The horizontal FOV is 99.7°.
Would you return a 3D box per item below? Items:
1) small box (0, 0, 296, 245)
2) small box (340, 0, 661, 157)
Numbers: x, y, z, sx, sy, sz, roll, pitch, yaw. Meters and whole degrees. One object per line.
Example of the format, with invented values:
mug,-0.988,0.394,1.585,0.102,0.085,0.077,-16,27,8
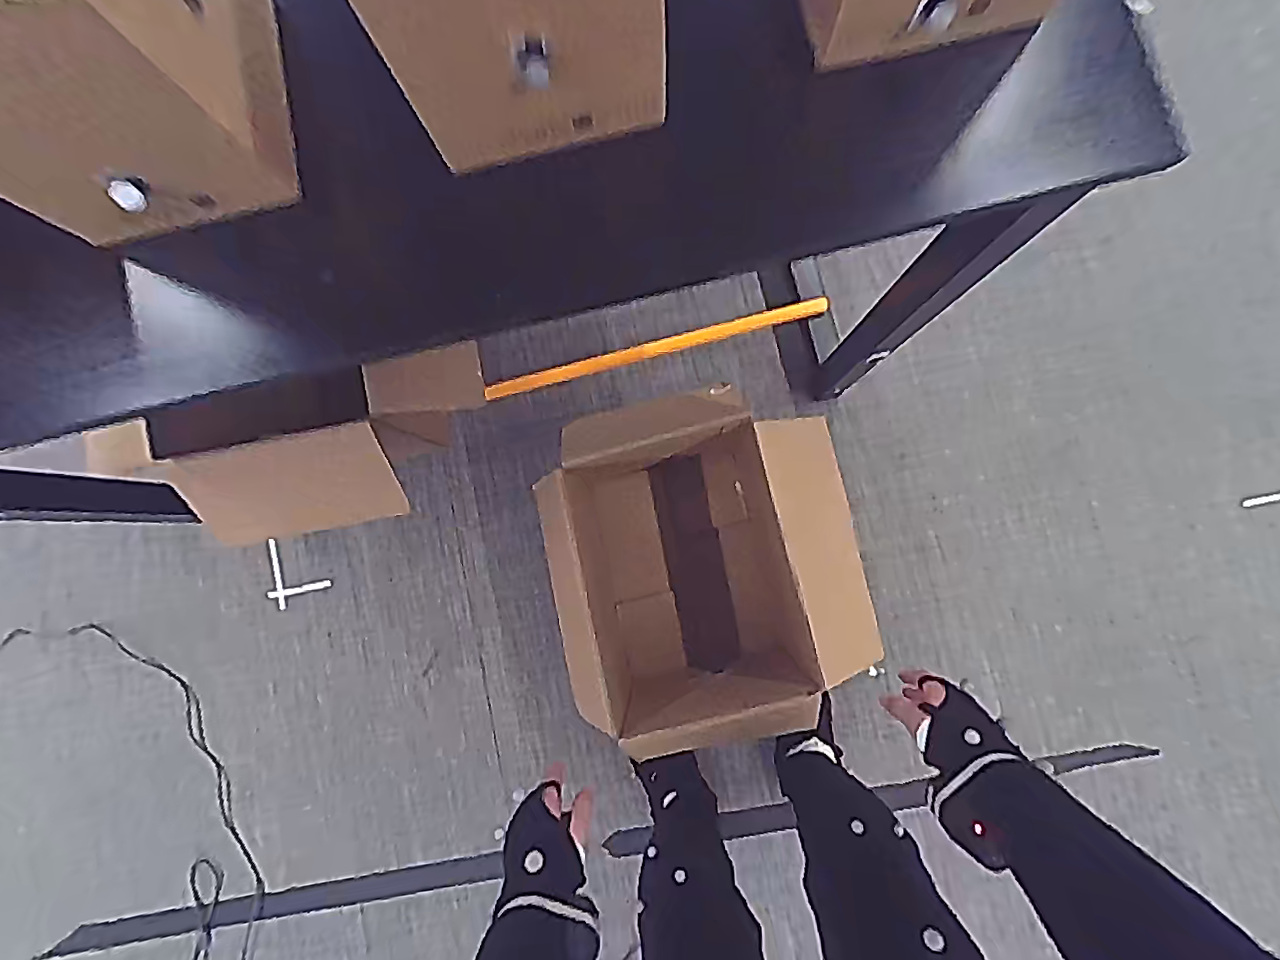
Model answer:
small box,-0.354,-0.283,0.338,0.168,0.176,0.179,-12,84,2
small box,-0.083,-0.333,0.330,0.168,0.176,0.179,-12,84,2
